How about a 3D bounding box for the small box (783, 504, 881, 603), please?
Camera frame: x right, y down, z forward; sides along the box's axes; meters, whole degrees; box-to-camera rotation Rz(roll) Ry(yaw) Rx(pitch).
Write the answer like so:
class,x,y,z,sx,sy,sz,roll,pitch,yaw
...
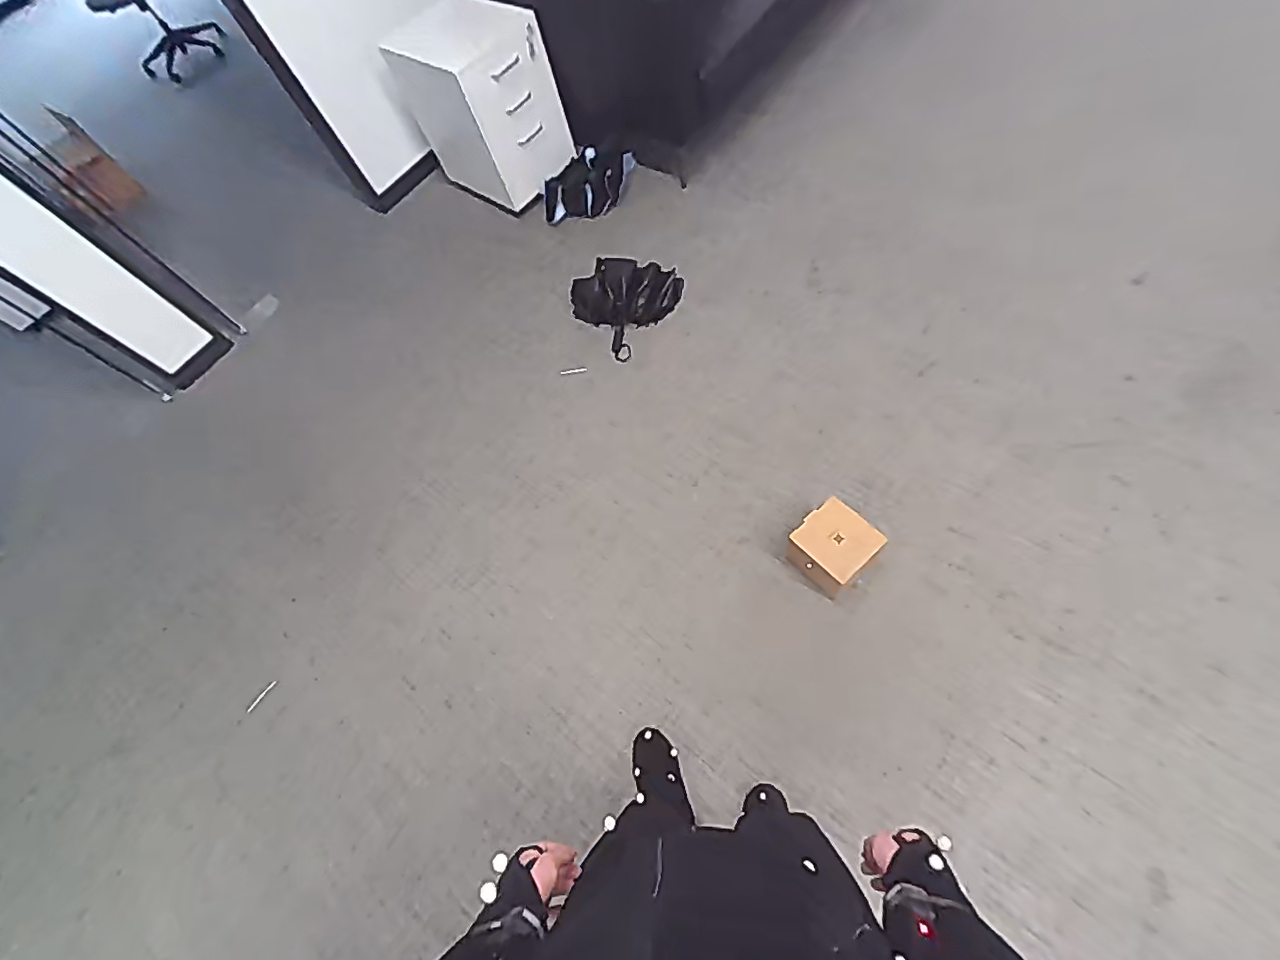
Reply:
class,x,y,z,sx,sy,sz,roll,pitch,yaw
small box,0.497,0.200,1.429,0.168,0.176,0.179,-41,64,-9
